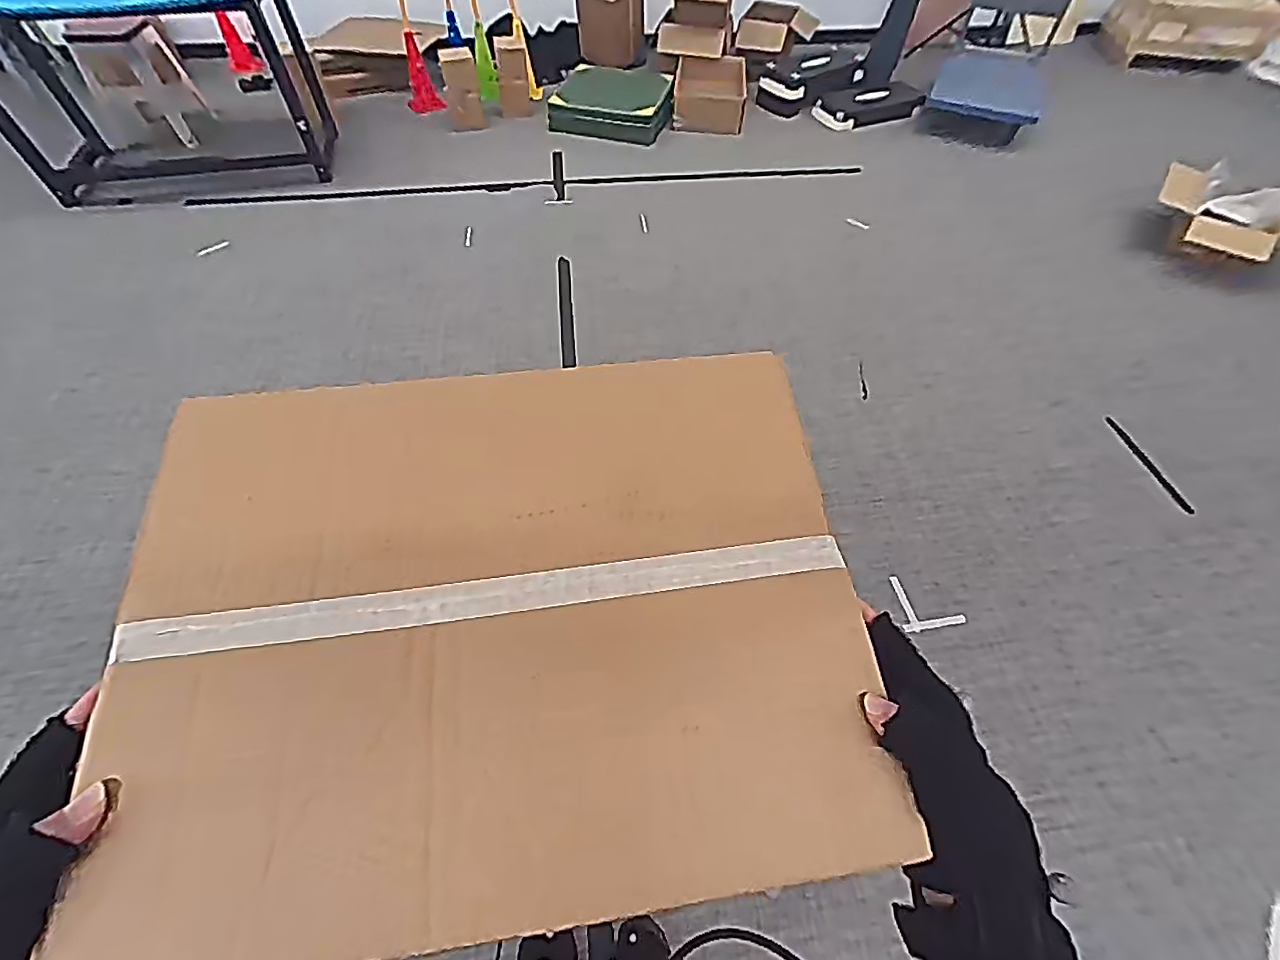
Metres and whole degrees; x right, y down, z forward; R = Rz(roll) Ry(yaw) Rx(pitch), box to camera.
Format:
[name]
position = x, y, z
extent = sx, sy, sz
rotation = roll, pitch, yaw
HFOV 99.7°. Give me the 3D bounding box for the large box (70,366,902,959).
[large box]
position = -0.086, 0.138, 0.451
extent = 0.408, 0.320, 0.320
rotation = -6, 64, -5
